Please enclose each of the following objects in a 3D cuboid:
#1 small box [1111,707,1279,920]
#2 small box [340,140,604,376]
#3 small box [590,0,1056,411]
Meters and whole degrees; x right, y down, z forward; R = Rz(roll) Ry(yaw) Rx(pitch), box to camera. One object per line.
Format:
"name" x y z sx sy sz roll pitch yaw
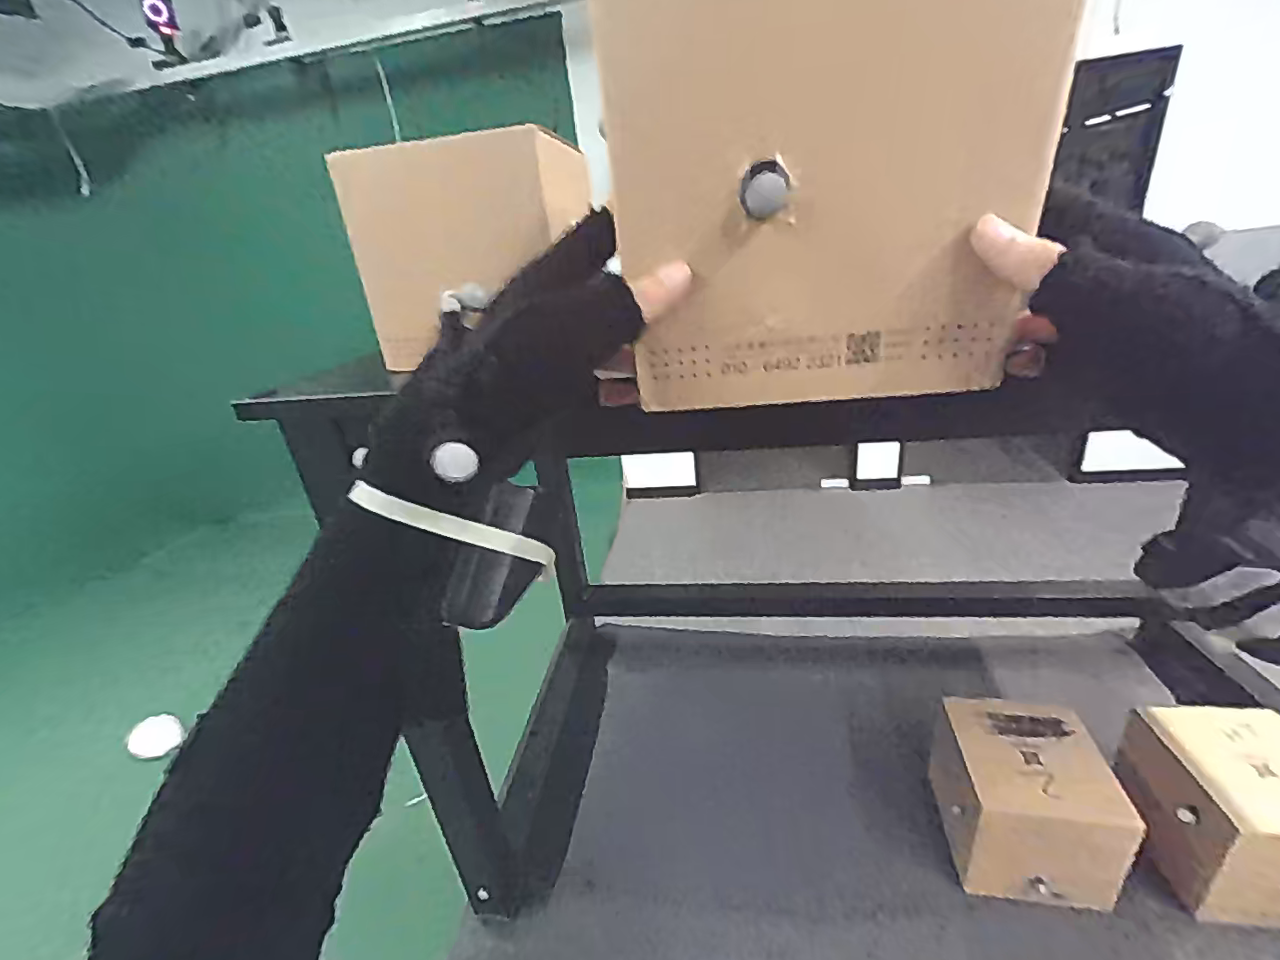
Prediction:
"small box" 0.751 0.417 0.680 0.168 0.176 0.179 -2 23 10
"small box" -0.133 -0.200 0.506 0.168 0.176 0.179 -3 25 9
"small box" 0.081 -0.142 0.292 0.168 0.176 0.179 -3 29 9
